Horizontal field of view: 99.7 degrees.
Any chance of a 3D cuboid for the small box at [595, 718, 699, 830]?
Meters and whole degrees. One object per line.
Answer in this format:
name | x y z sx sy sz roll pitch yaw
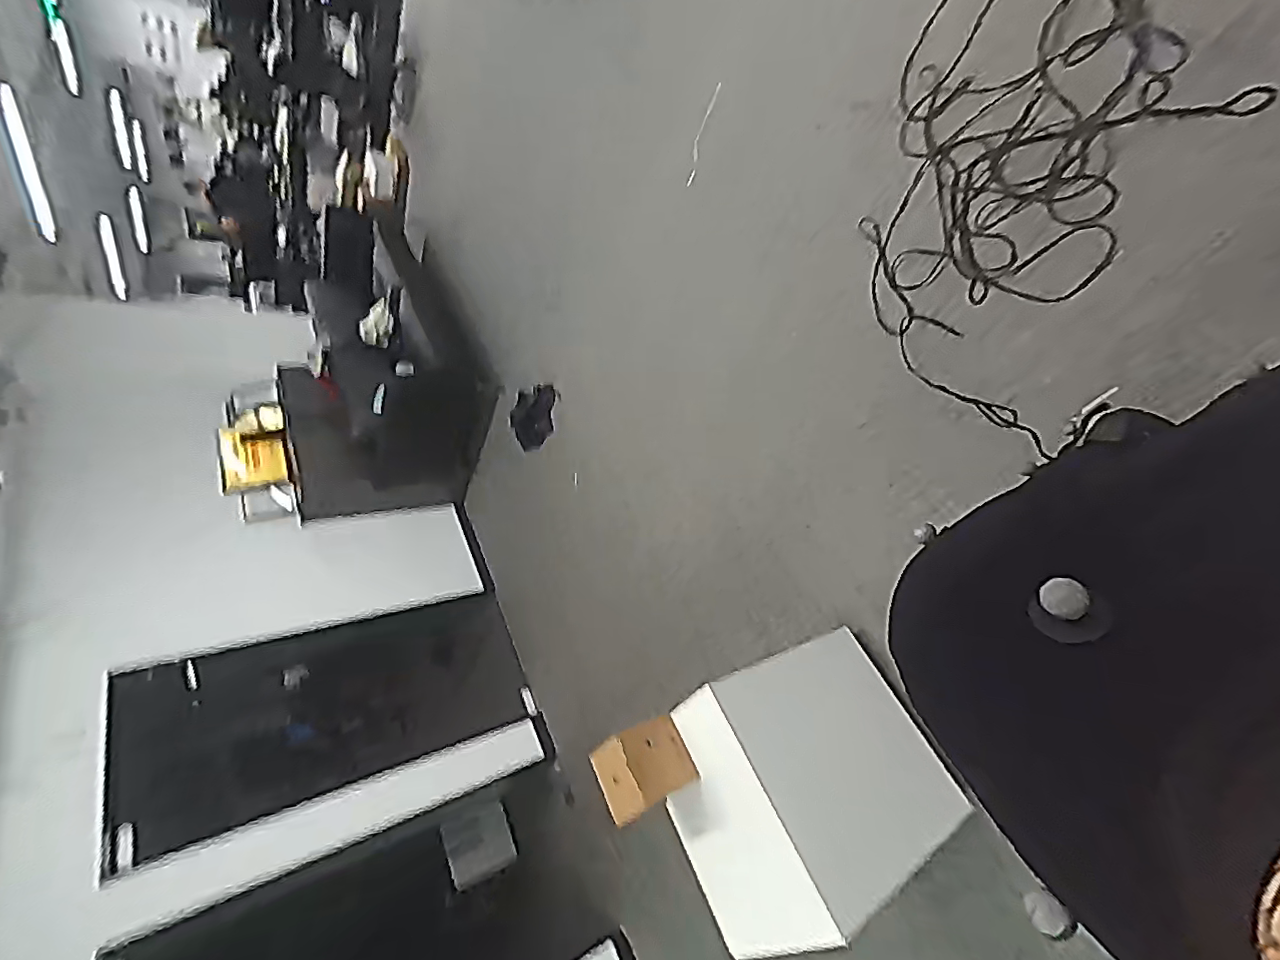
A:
small box | 0.020 0.711 1.320 0.168 0.176 0.179 60 138 30
